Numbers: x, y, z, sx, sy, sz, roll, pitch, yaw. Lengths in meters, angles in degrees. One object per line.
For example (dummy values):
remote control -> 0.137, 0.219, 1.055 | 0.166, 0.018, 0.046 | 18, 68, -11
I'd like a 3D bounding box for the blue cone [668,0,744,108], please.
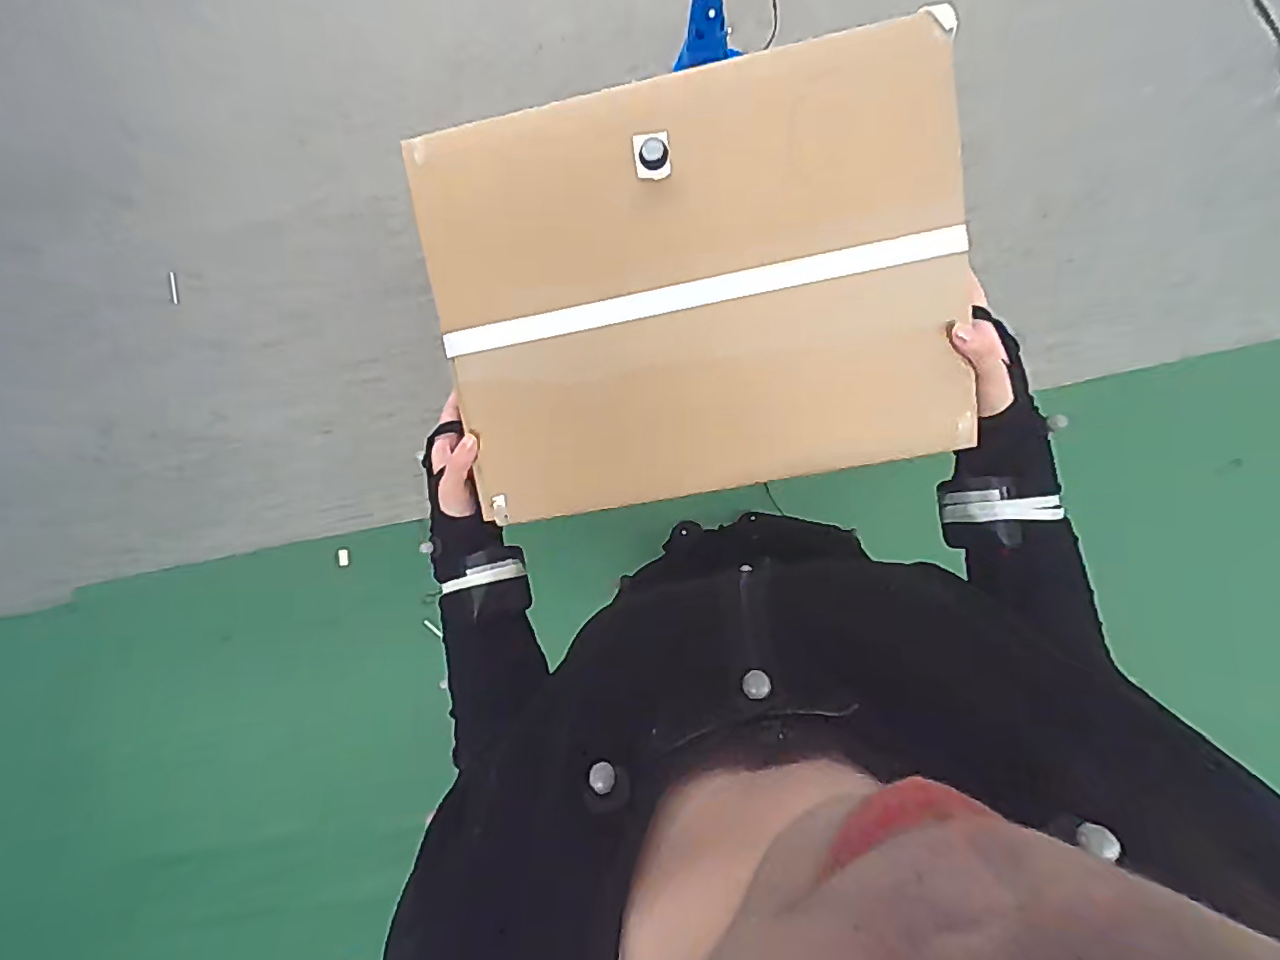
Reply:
blue cone -> 0.168, -1.170, 1.380 | 0.192, 0.380, 0.193 | 21, 91, 7
